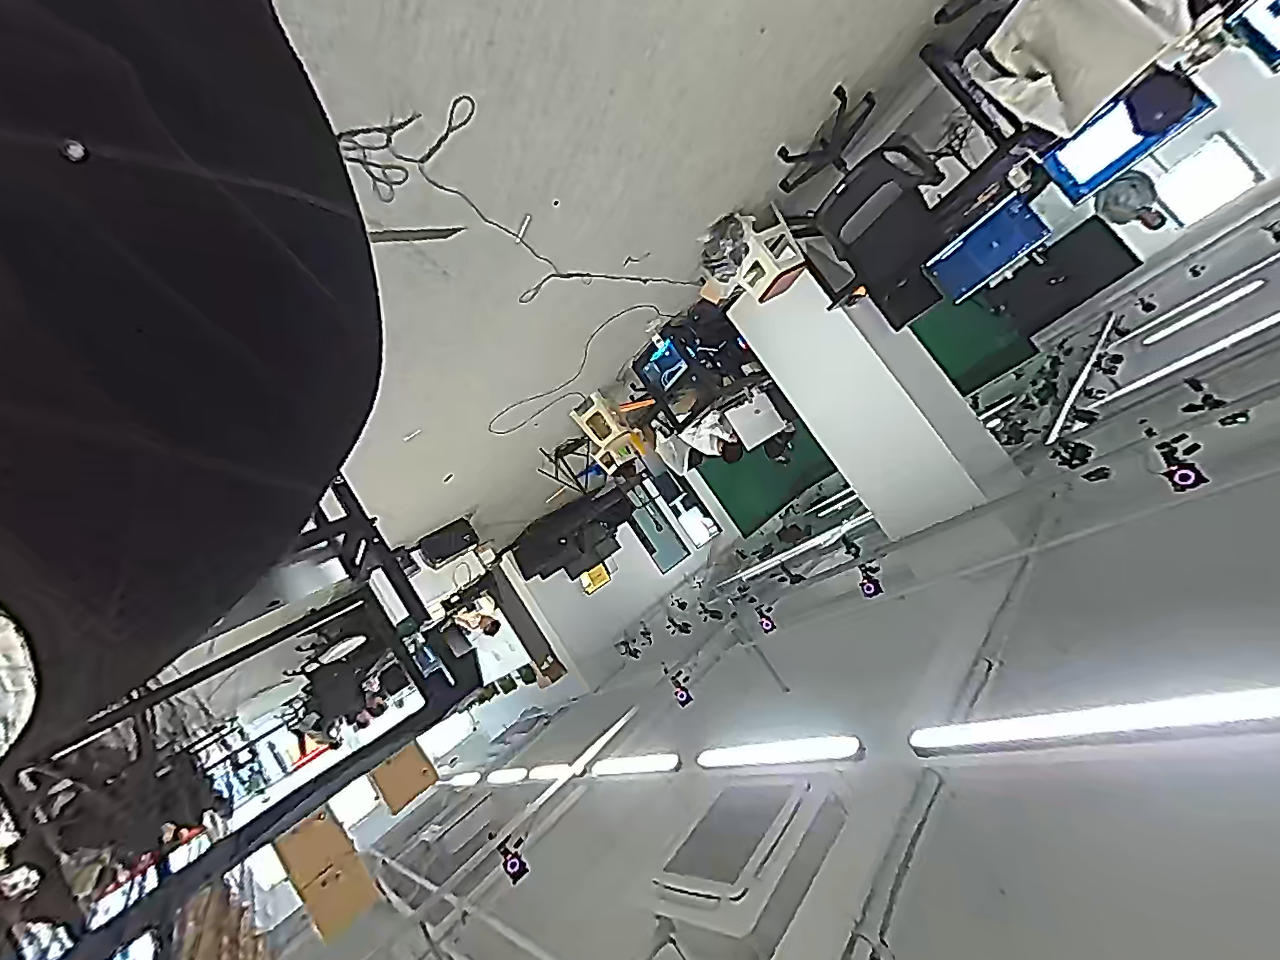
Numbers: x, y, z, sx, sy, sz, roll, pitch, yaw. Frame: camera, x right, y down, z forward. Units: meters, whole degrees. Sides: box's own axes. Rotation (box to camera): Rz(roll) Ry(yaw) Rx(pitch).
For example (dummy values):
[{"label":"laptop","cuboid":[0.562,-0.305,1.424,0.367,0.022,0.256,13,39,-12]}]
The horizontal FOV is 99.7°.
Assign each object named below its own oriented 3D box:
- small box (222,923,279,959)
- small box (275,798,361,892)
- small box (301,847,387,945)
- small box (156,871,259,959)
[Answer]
[{"label":"small box","cuboid":[-1.072,1.333,1.443,0.168,0.176,0.179,-29,172,-43]},{"label":"small box","cuboid":[-0.981,1.097,1.640,0.168,0.176,0.179,-29,174,-41]},{"label":"small box","cuboid":[-0.894,1.233,1.626,0.168,0.176,0.179,-30,173,-42]},{"label":"small box","cuboid":[-1.162,1.197,1.458,0.168,0.176,0.179,-30,174,-43]}]
